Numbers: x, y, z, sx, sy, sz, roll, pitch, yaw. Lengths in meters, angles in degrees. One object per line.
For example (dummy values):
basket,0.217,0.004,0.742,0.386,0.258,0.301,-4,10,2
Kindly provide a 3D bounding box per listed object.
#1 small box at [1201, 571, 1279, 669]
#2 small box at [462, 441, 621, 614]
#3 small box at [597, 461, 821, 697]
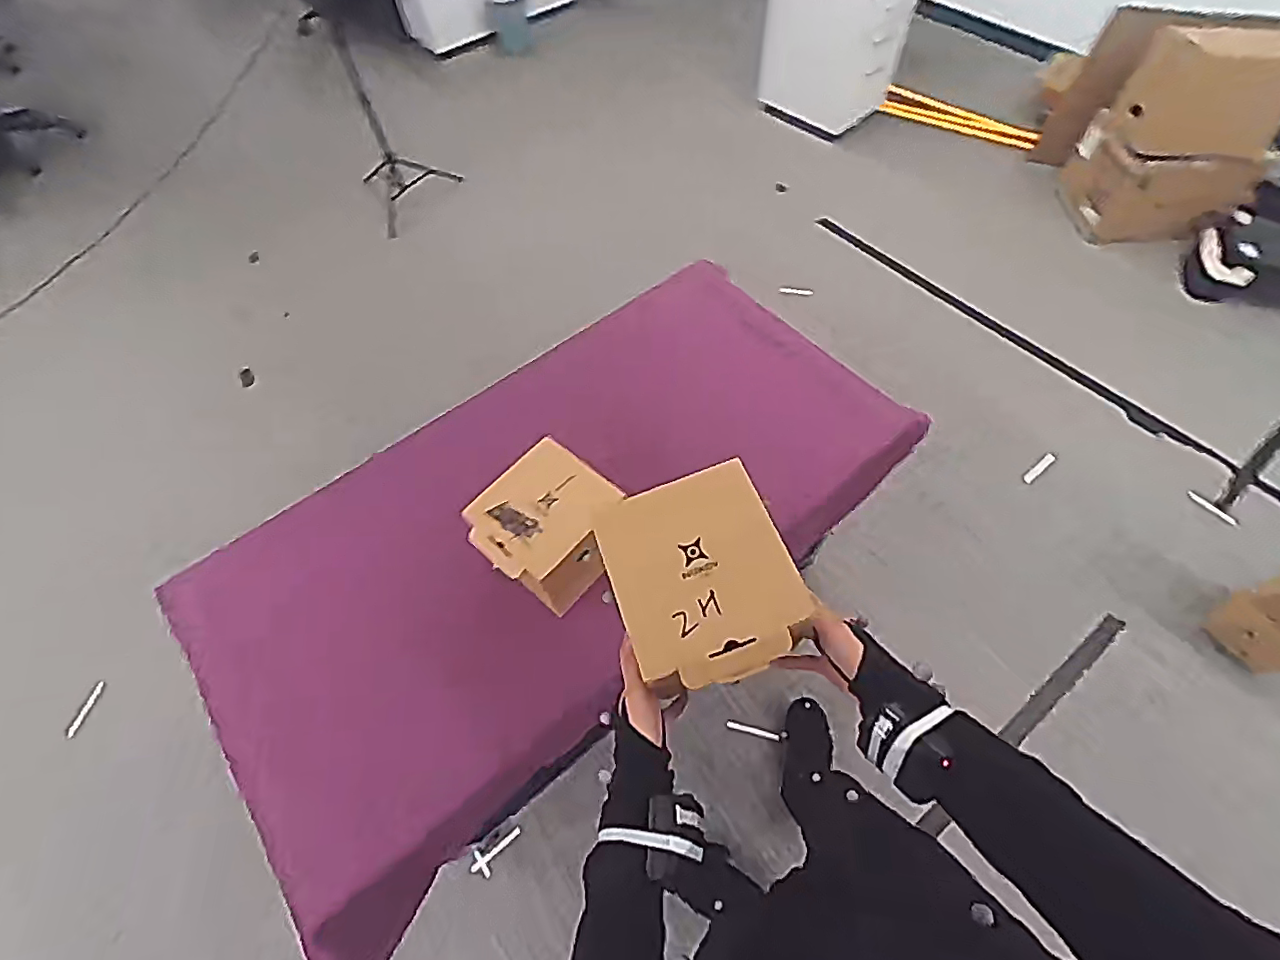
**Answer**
small box,1.655,0.372,1.421,0.179,0.176,0.168,-32,64,-15
small box,-0.136,0.080,0.843,0.168,0.176,0.179,36,67,20
small box,0.067,0.113,0.578,0.168,0.176,0.179,-20,62,-2
